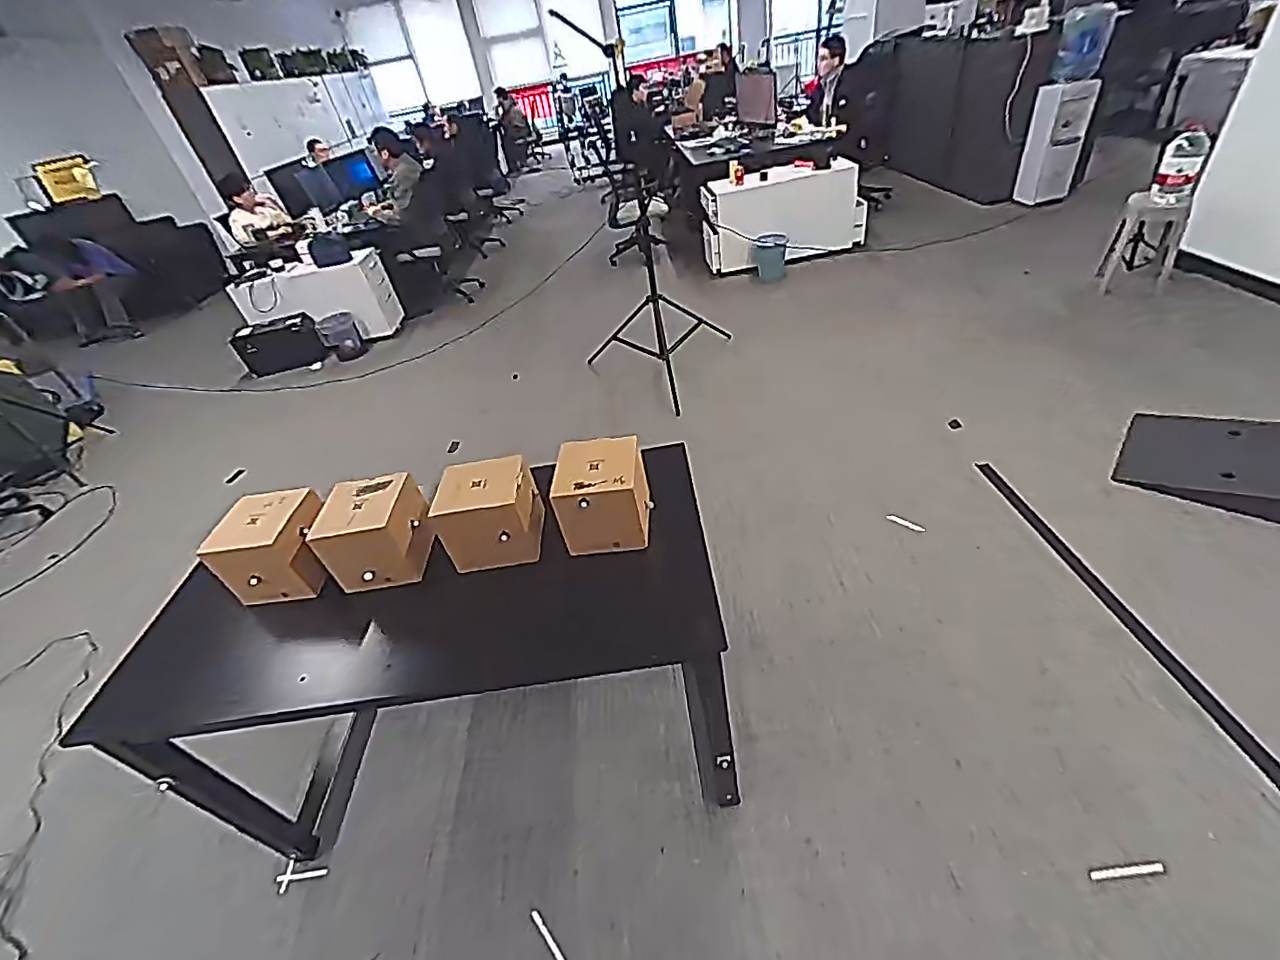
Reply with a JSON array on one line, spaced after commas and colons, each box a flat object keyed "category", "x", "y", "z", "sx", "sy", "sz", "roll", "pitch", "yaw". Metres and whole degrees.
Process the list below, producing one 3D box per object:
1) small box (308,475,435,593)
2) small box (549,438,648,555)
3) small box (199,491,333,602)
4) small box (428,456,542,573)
[{"category": "small box", "x": -0.561, "y": 0.115, "z": 1.161, "sx": 0.168, "sy": 0.176, "sz": 0.179, "roll": -10, "pitch": 39, "yaw": 3}, {"category": "small box", "x": -0.078, "y": 0.035, "z": 1.135, "sx": 0.168, "sy": 0.176, "sz": 0.179, "roll": -7, "pitch": 38, "yaw": 8}, {"category": "small box", "x": -0.782, "y": 0.150, "z": 1.176, "sx": 0.168, "sy": 0.176, "sz": 0.179, "roll": -7, "pitch": 38, "yaw": 4}, {"category": "small box", "x": -0.316, "y": 0.076, "z": 1.150, "sx": 0.179, "sy": 0.176, "sz": 0.168, "roll": -10, "pitch": 37, "yaw": 3}]
